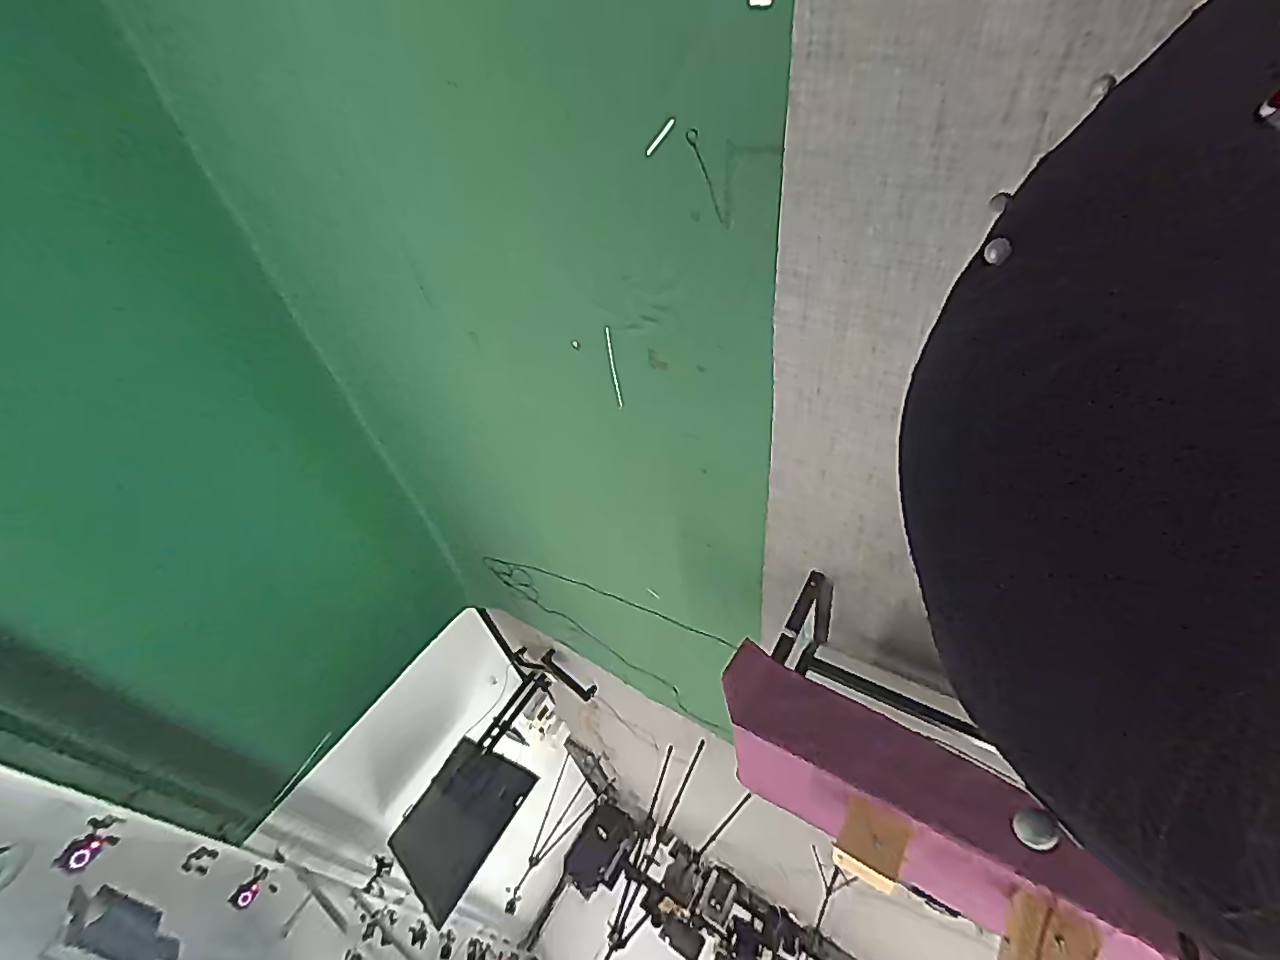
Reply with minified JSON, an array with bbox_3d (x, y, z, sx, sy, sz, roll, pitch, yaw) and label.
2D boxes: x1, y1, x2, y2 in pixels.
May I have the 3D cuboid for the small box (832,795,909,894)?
[{"bbox_3d":[0.701,1.102,1.642,0.179,0.176,0.168,17,140,30],"label":"small box"}]

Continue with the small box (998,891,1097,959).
[{"bbox_3d":[1.071,1.228,1.424,0.168,0.176,0.179,19,141,31],"label":"small box"}]

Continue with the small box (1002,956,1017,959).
[{"bbox_3d":[0.982,1.333,1.333,0.179,0.176,0.168,18,141,31],"label":"small box"}]
